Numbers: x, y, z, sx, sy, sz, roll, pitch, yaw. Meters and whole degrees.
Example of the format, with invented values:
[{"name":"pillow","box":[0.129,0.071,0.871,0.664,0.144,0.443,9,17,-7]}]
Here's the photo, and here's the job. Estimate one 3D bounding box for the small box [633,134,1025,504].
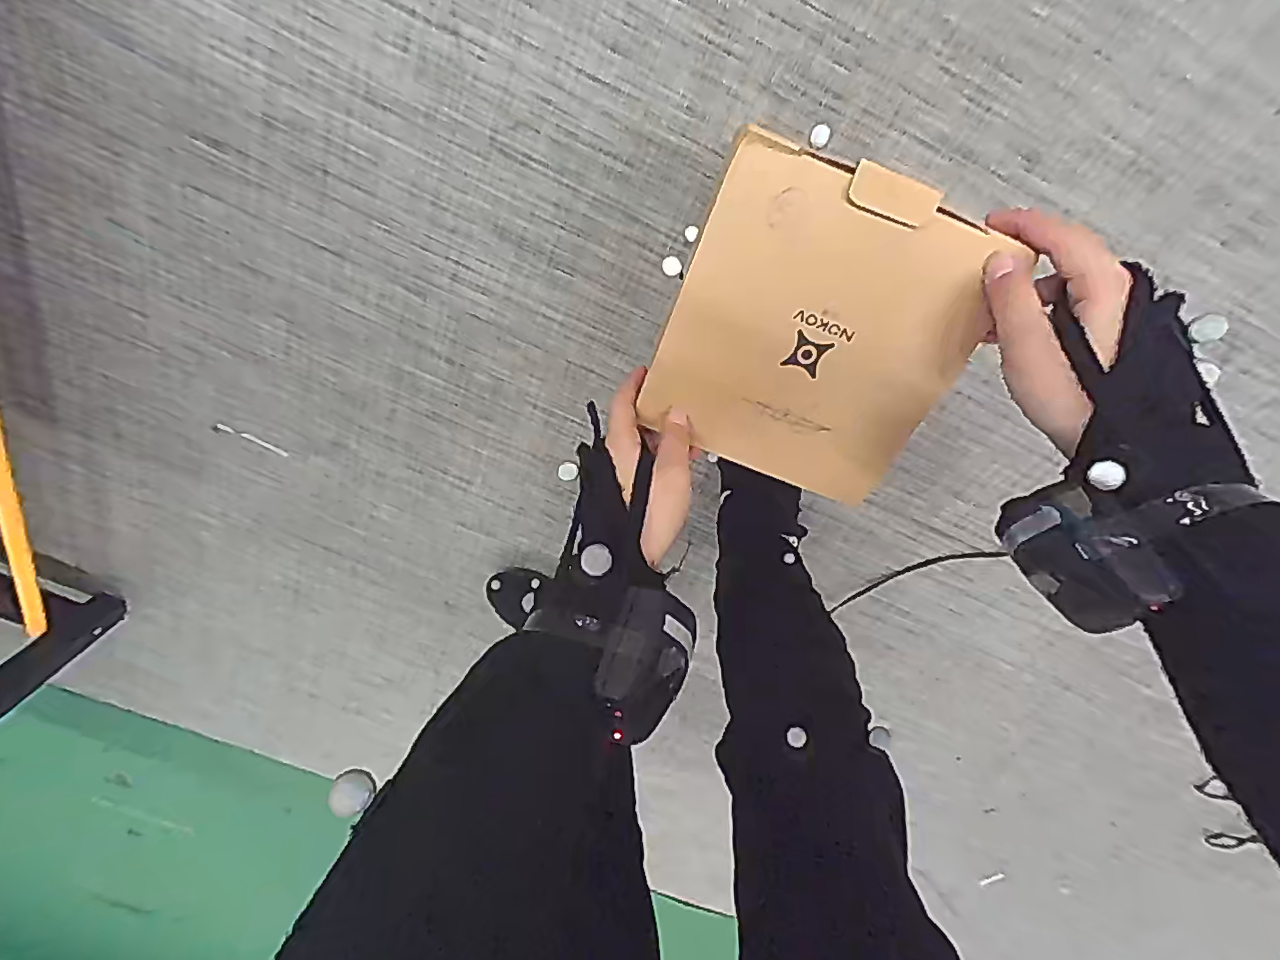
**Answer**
[{"name":"small box","box":[0.108,-0.120,0.385,0.168,0.176,0.179,21,124,-4]}]
